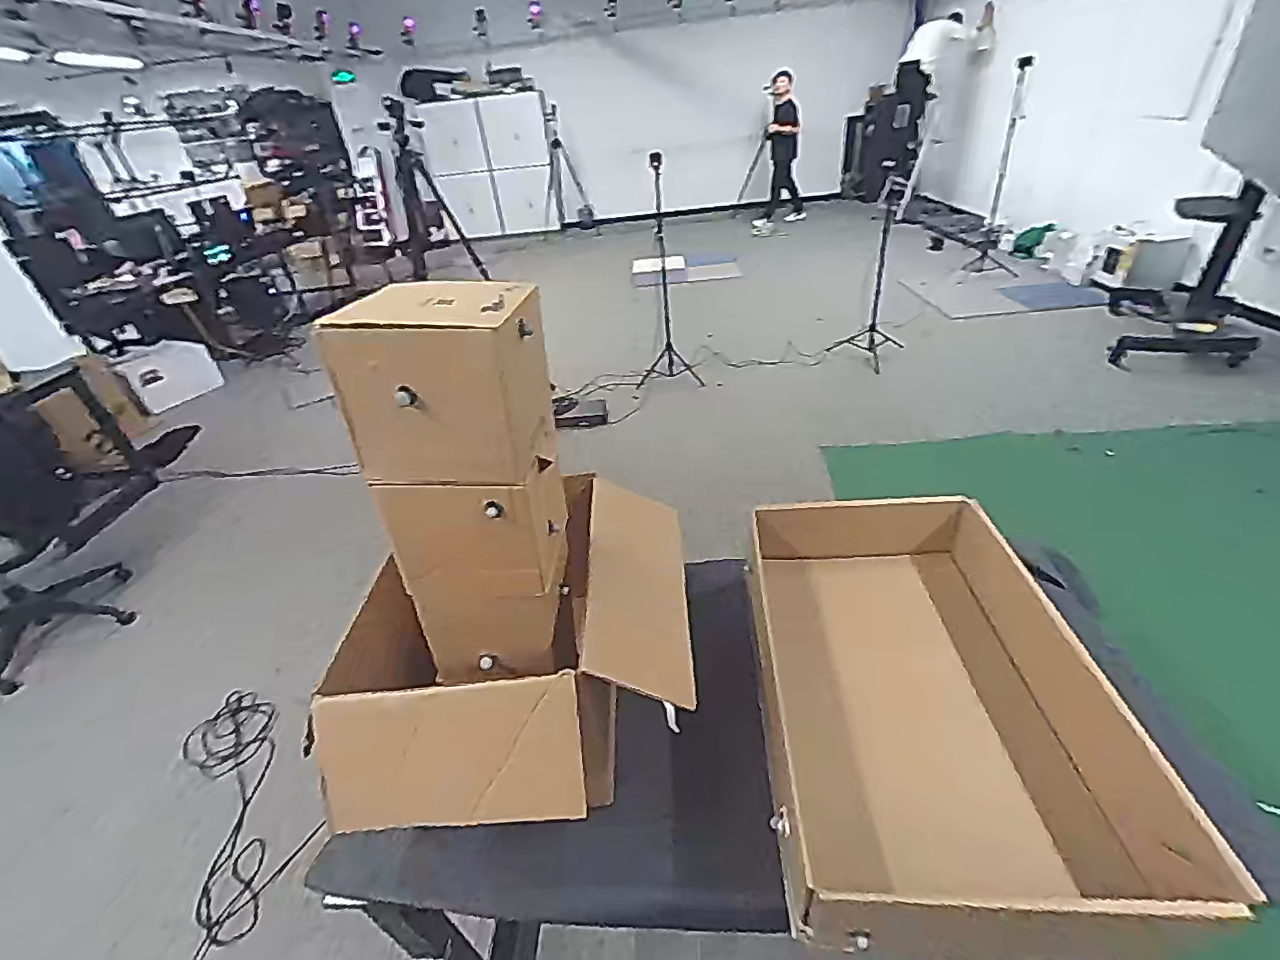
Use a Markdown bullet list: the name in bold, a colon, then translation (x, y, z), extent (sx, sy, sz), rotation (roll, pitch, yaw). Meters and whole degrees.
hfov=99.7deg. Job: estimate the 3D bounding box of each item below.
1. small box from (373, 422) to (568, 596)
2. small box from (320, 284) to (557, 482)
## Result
- **small box**: translation (-0.195, 0.030, 0.683), extent (0.179, 0.176, 0.168), rotation (0, 33, 2)
- **small box**: translation (-0.200, -0.109, 0.596), extent (0.179, 0.176, 0.168), rotation (1, 33, 4)
